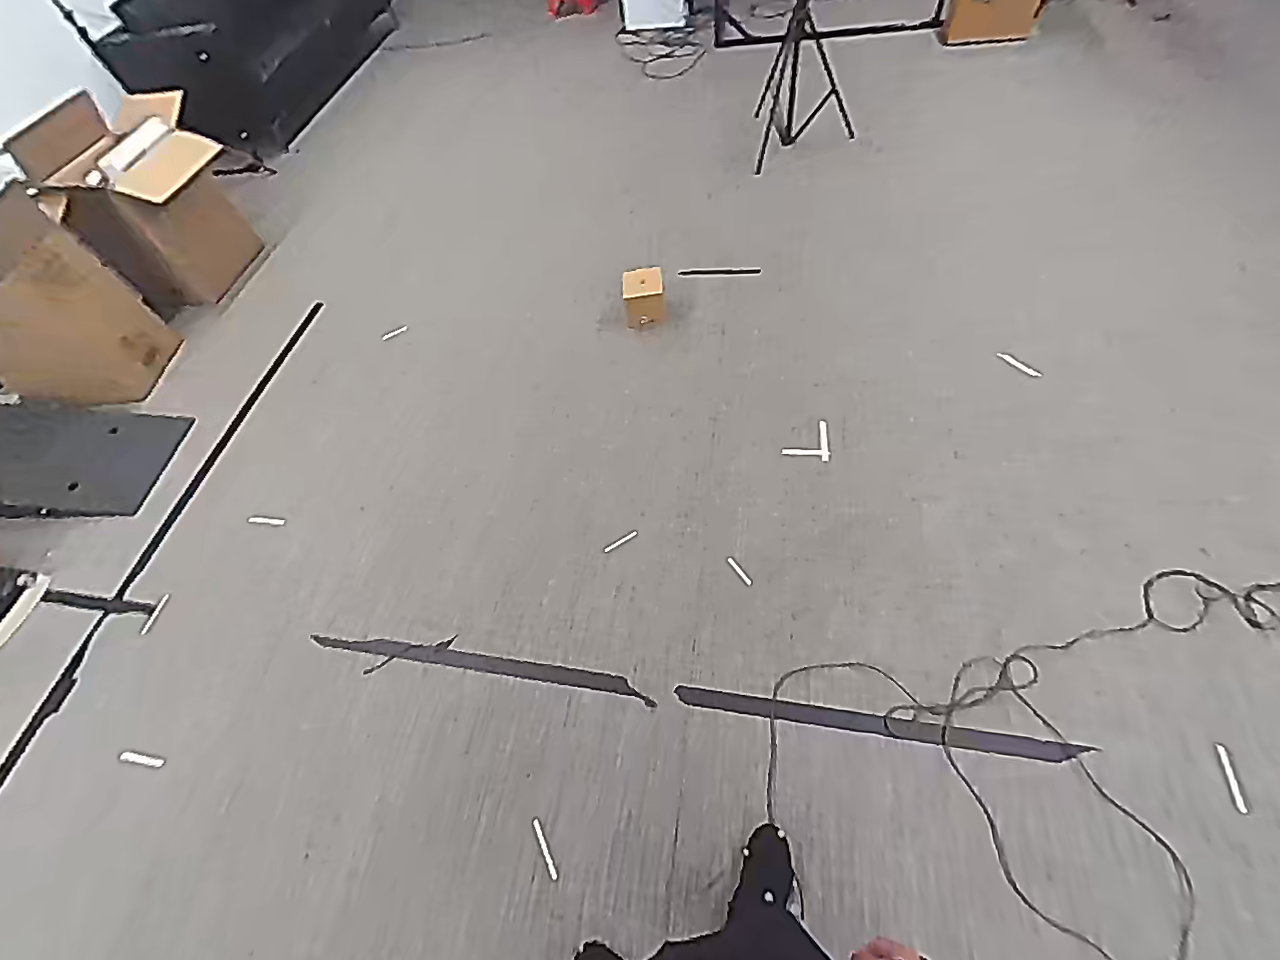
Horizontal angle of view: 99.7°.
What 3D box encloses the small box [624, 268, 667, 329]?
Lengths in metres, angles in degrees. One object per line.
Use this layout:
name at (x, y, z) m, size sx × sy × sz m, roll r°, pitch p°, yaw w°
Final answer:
small box at (0.024, -0.772, 2.309) m, size 0.168 × 0.176 × 0.179 m, roll -6°, pitch 57°, yaw 6°
